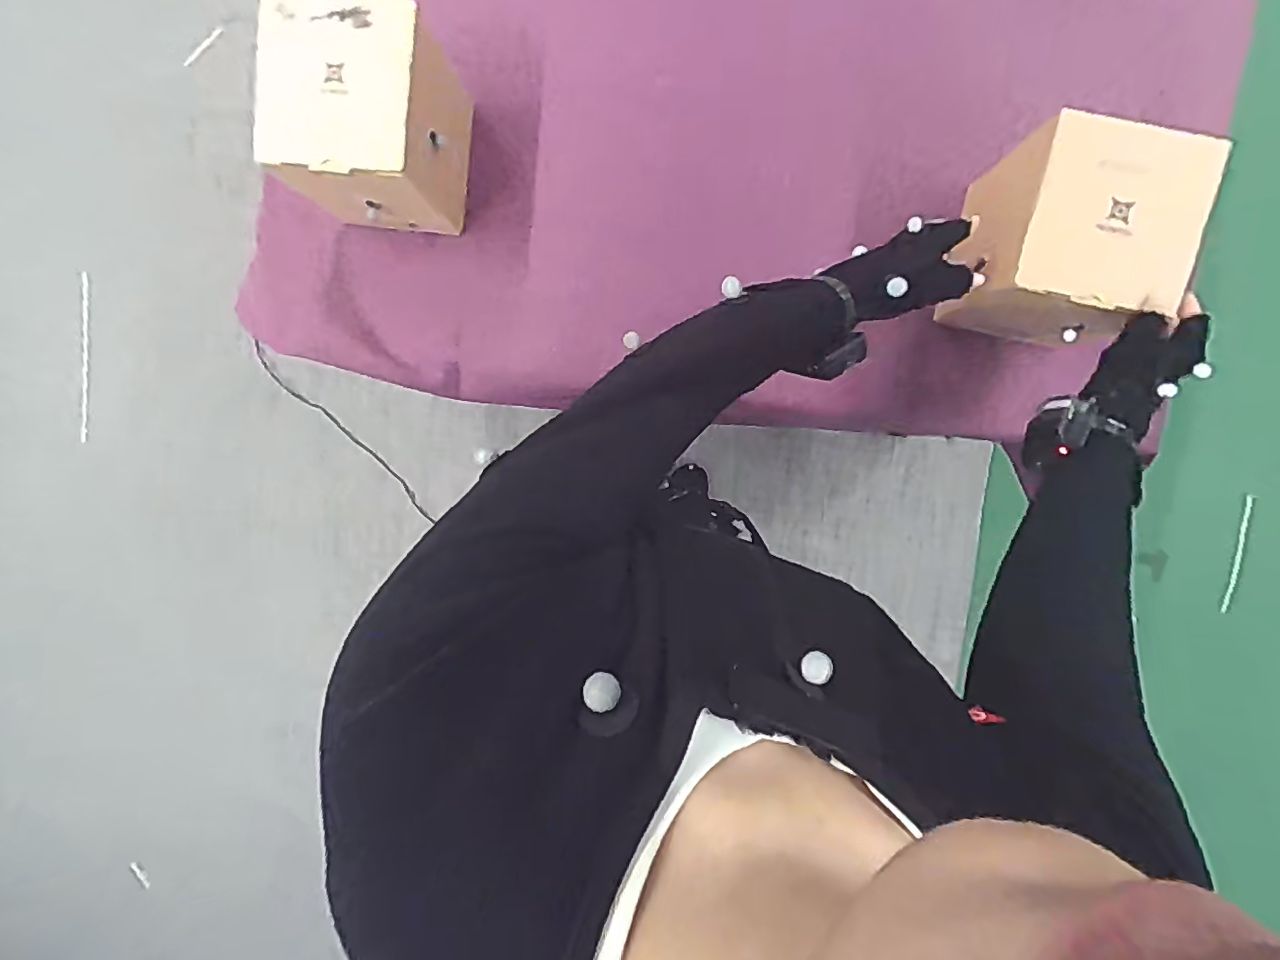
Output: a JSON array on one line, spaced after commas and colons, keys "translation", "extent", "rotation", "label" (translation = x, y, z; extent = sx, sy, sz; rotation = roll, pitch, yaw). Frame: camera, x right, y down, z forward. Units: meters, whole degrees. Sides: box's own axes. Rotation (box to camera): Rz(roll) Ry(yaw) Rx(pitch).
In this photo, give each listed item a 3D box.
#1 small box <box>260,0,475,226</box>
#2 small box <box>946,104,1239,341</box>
[{"translation": [-0.306, -0.422, 0.639], "extent": [0.168, 0.176, 0.179], "rotation": [7, 95, 2], "label": "small box"}, {"translation": [0.477, -0.267, 0.605], "extent": [0.168, 0.176, 0.179], "rotation": [14, 95, 2], "label": "small box"}]
